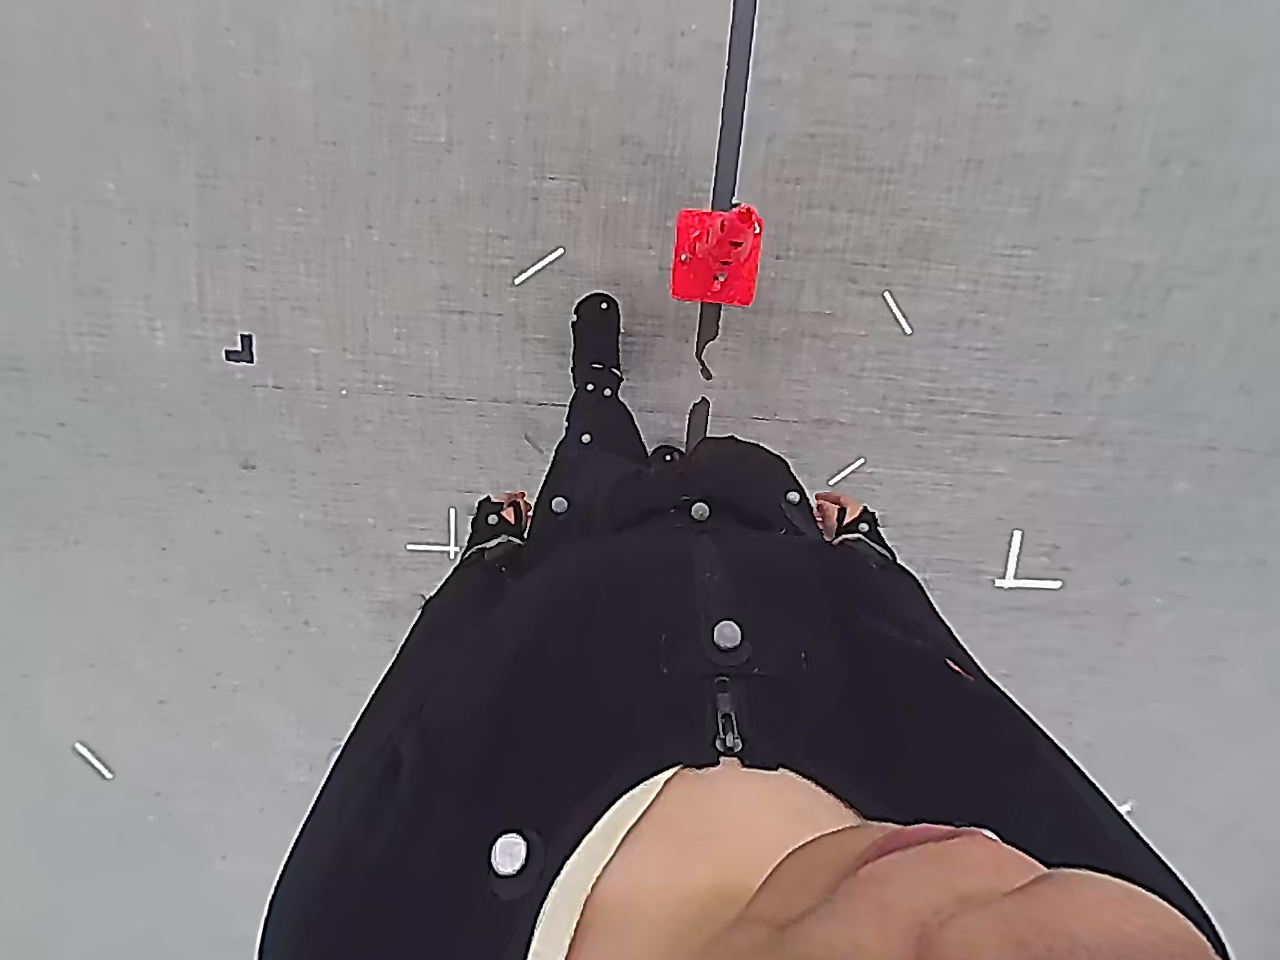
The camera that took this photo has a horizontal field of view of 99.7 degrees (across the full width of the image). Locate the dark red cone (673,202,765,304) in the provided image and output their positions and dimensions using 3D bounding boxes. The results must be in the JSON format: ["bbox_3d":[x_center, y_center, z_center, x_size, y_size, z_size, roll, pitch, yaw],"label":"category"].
[{"bbox_3d":[0.174,-0.475,1.069,0.201,0.394,0.202,4,102,0],"label":"dark red cone"}]
